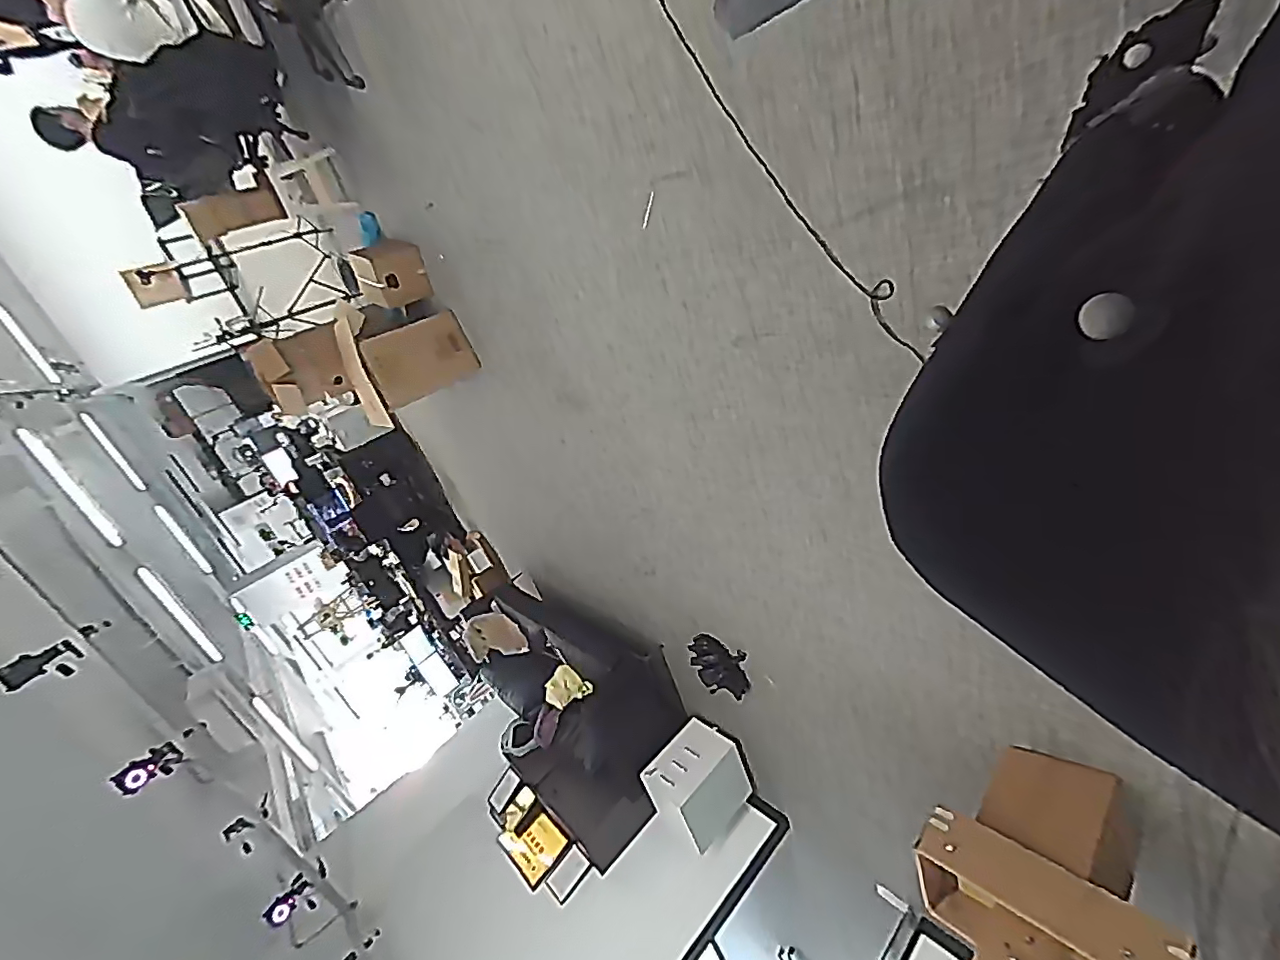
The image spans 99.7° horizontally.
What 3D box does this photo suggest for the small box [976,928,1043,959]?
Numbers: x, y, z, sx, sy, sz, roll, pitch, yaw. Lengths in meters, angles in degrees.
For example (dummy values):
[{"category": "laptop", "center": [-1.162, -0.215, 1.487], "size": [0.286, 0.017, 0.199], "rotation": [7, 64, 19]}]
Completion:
[{"category": "small box", "center": [1.041, 1.412, 1.492], "size": [0.168, 0.176, 0.179], "rotation": [4, 123, 53]}]
